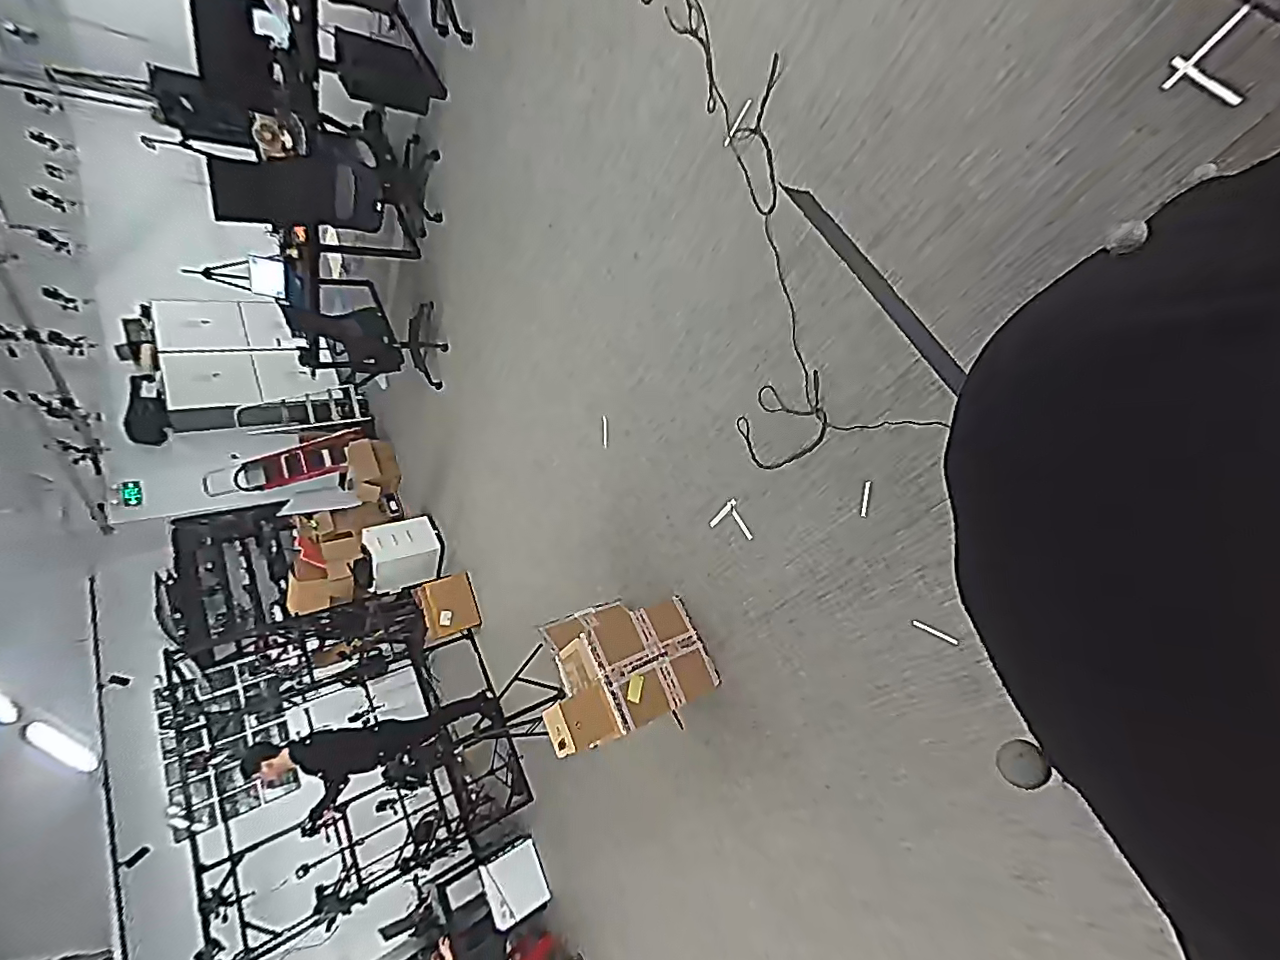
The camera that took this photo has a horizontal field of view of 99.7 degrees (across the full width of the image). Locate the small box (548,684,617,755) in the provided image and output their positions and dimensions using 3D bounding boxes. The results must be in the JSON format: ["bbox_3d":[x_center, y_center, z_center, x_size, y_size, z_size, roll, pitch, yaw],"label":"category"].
[{"bbox_3d":[-0.210,0.880,1.993,0.168,0.176,0.179,-47,62,45],"label":"small box"}]
